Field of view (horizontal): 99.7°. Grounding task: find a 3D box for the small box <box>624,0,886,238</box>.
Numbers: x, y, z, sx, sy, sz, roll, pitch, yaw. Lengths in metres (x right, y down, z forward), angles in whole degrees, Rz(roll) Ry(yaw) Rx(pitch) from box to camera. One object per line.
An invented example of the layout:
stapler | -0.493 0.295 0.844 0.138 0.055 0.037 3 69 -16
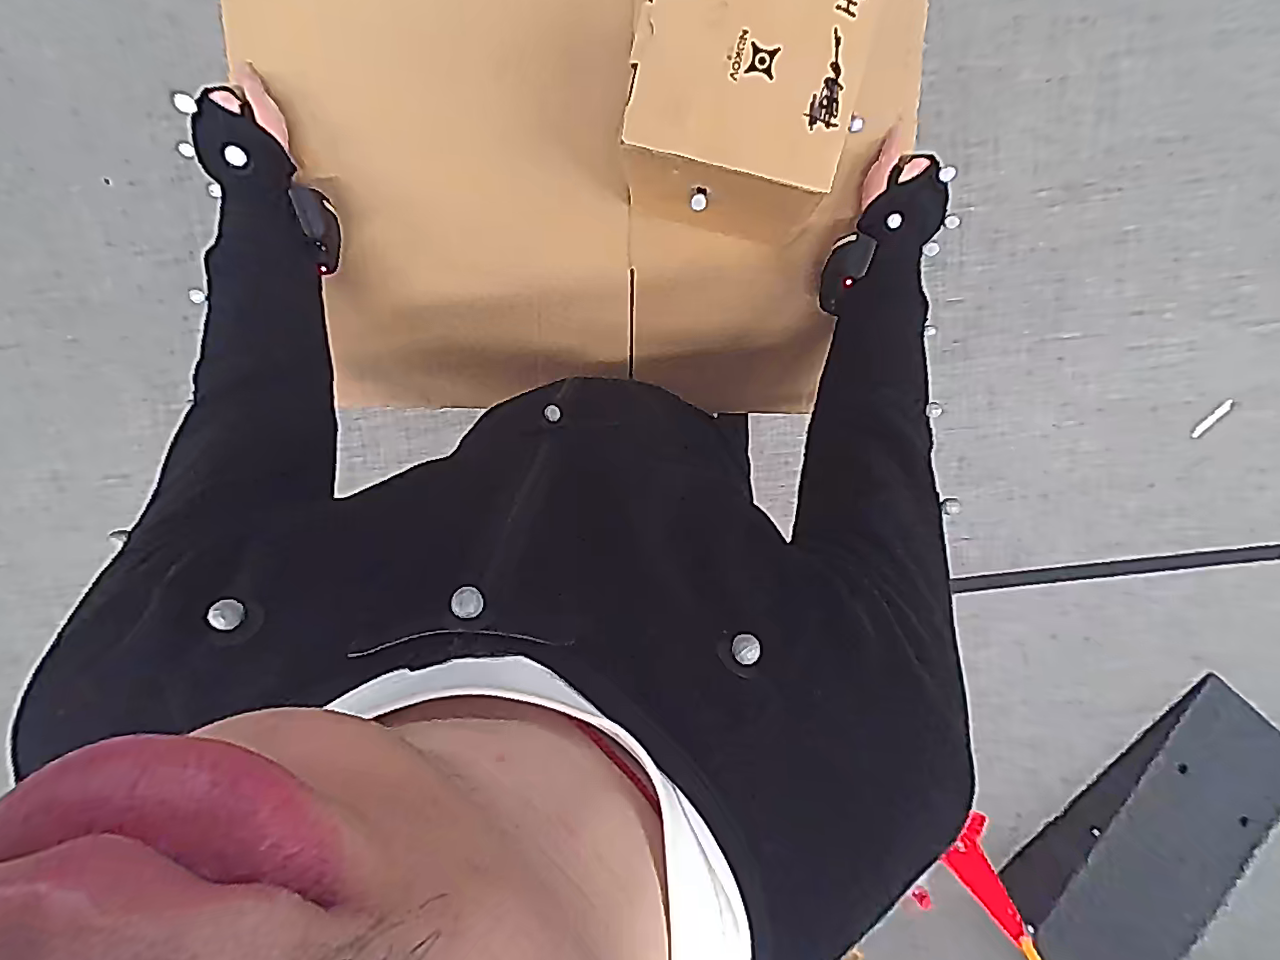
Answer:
small box | 0.097 -0.345 0.503 0.179 0.176 0.168 15 100 2
